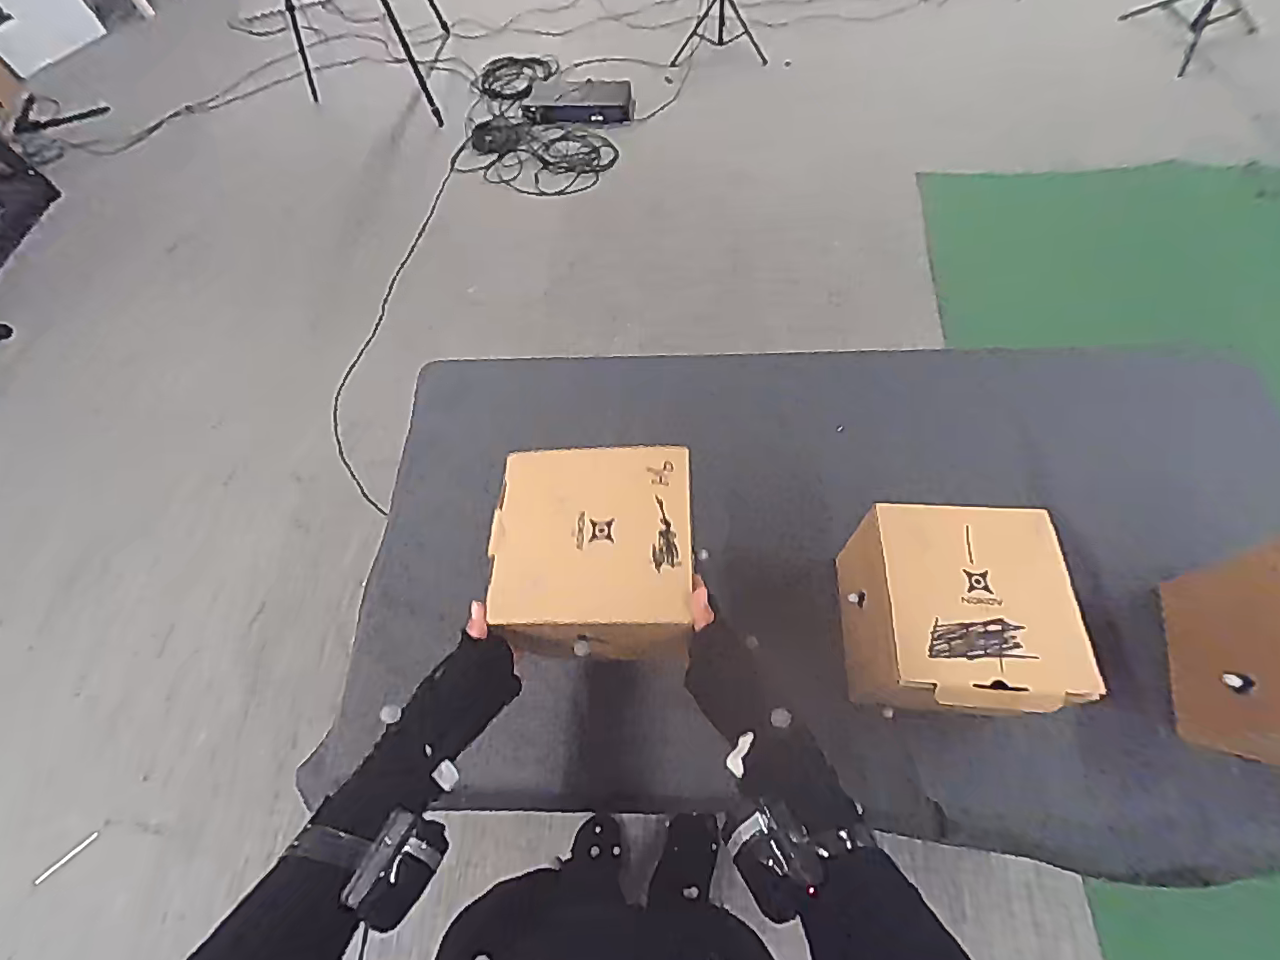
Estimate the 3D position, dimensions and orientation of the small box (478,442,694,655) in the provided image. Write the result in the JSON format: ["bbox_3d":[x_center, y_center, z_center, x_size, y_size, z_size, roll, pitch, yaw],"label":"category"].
[{"bbox_3d":[-0.037,0.077,0.543,0.179,0.176,0.168,-2,62,6],"label":"small box"}]

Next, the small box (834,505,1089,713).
[{"bbox_3d":[0.312,0.143,0.572,0.168,0.176,0.179,2,62,6],"label":"small box"}]
